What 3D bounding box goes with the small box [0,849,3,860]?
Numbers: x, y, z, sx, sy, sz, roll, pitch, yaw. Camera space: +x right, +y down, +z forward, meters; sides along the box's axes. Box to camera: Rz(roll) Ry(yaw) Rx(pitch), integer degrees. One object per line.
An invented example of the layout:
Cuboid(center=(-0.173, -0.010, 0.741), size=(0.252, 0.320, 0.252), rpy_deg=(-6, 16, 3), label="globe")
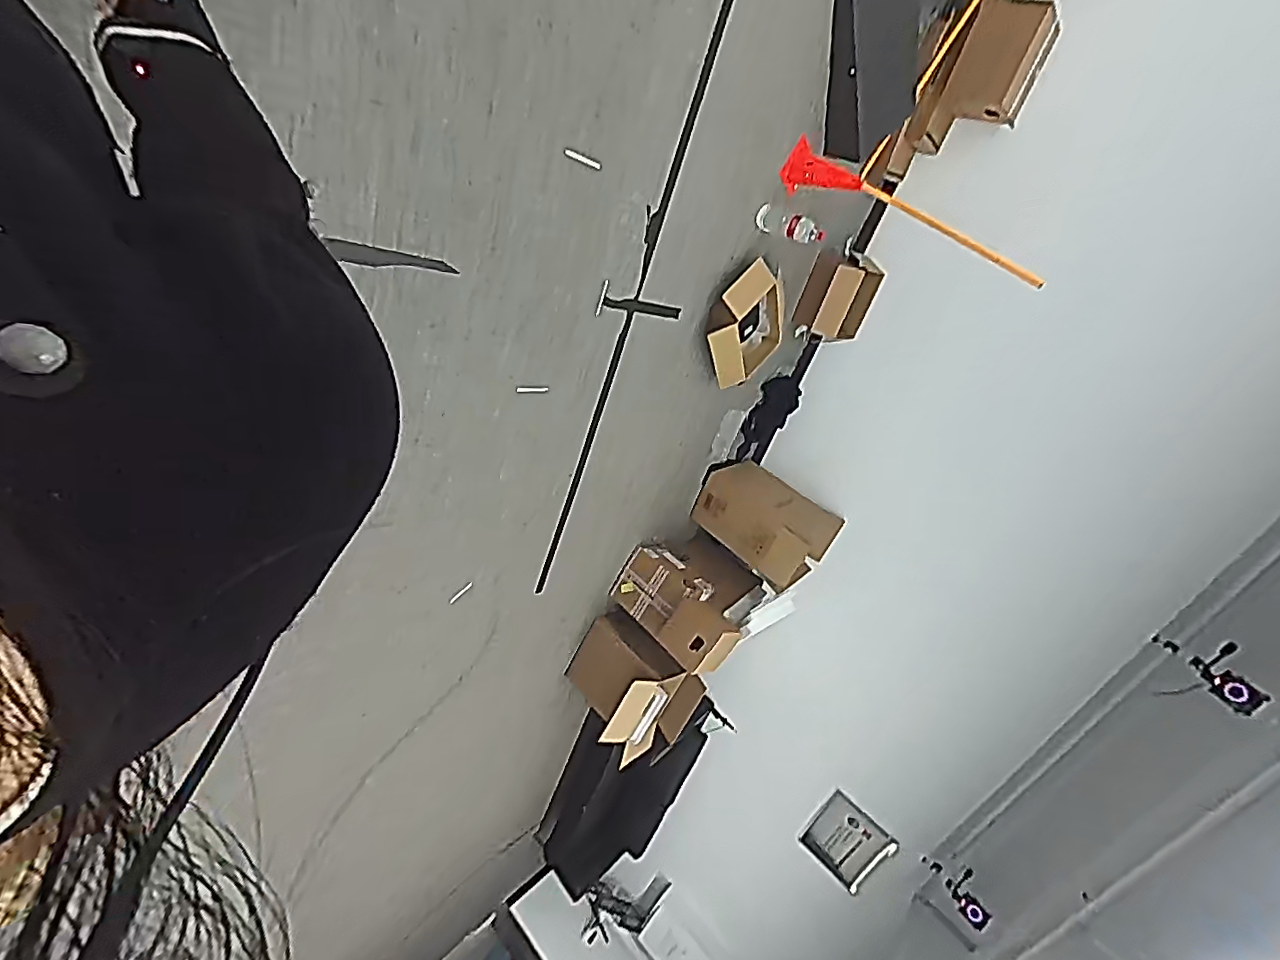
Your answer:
Cuboid(center=(-1.666, 0.845, 1.279), size=(0.168, 0.176, 0.179), rpy_deg=(-20, 137, -47), label="small box")
